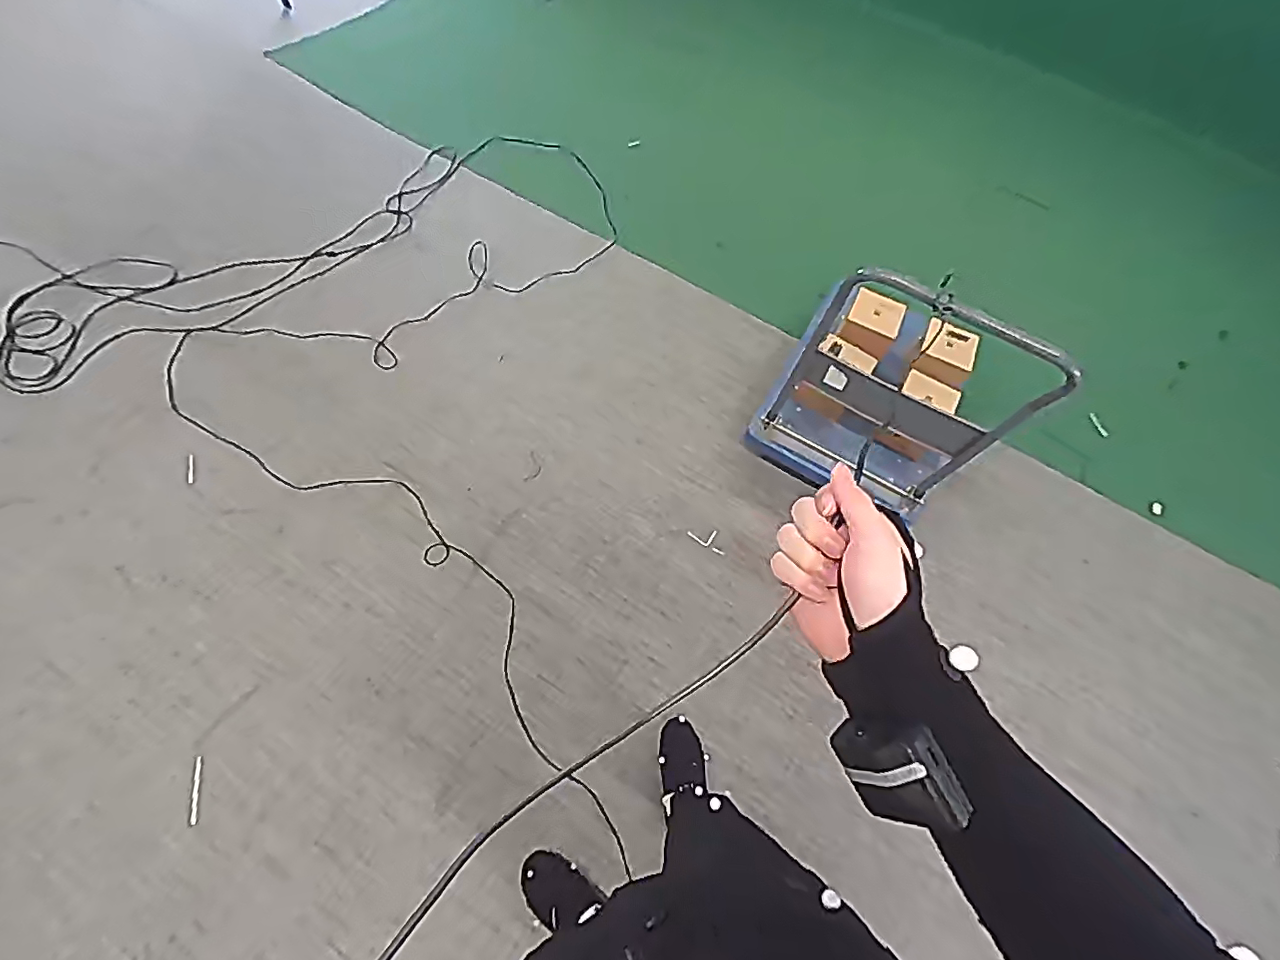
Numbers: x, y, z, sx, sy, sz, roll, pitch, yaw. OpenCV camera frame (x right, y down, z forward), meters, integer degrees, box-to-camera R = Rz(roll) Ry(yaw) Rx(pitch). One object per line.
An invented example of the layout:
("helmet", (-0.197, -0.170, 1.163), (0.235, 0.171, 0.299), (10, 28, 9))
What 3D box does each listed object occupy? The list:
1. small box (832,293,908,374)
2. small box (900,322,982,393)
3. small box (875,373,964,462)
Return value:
("small box", (0.779, -0.497, 1.848), (0.168, 0.176, 0.179), (27, 61, 8))
("small box", (1.003, -0.388, 1.812), (0.168, 0.176, 0.179), (26, 62, 9))
("small box", (0.866, -0.191, 1.688), (0.168, 0.176, 0.179), (31, 63, 10))
